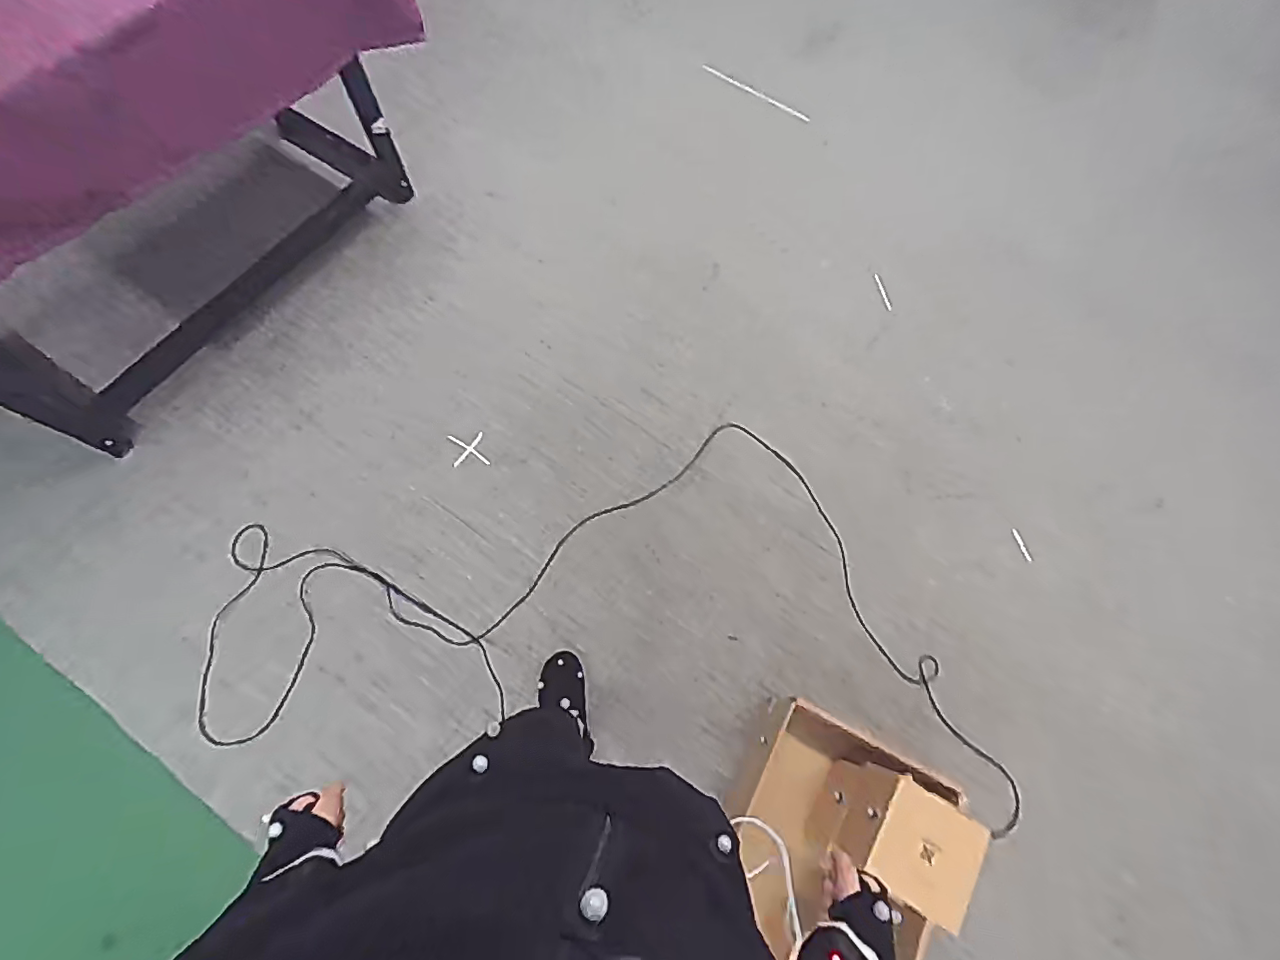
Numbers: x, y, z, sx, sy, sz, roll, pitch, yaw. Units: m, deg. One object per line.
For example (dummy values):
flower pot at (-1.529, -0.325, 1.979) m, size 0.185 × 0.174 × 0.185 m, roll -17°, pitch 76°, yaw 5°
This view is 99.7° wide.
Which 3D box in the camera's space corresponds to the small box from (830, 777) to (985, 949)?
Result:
small box at (0.472, 0.672, 0.980) m, size 0.168 × 0.176 × 0.179 m, roll 31°, pitch 72°, yaw 11°

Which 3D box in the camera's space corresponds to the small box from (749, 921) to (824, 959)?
small box at (0.295, 0.996, 1.022) m, size 0.168 × 0.176 × 0.179 m, roll 33°, pitch 71°, yaw 10°
